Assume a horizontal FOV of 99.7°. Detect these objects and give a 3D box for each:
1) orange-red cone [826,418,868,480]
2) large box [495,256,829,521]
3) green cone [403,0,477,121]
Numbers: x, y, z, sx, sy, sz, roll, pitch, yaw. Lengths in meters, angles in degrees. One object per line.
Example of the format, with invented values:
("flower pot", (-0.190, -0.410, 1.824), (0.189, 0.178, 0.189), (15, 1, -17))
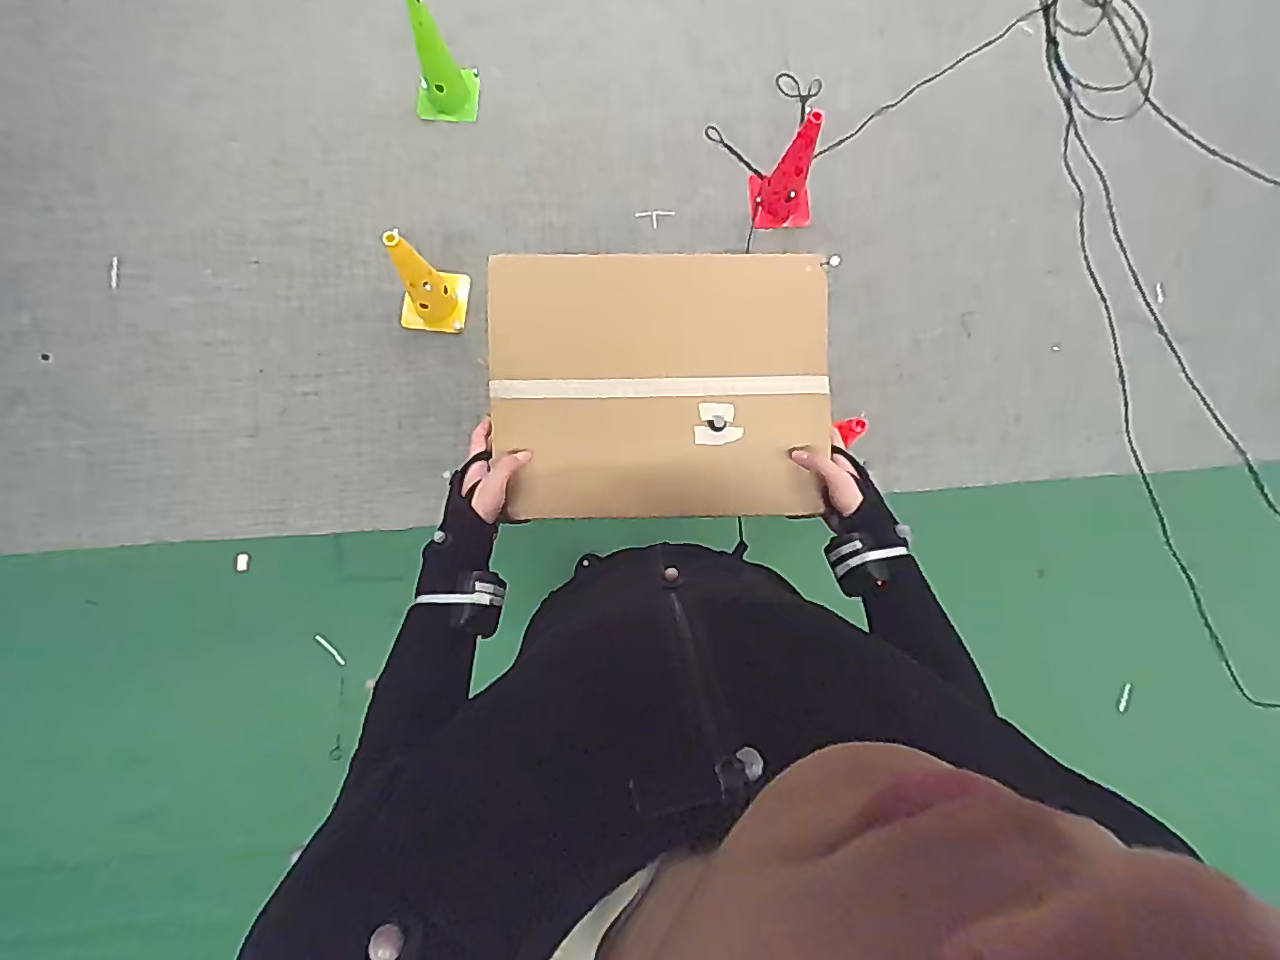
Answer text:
("orange-red cone", (0.556, -0.121, 1.546), (0.199, 0.360, 0.198), (3, 83, -3))
("large box", (0.023, -0.115, 0.802), (0.408, 0.320, 0.320), (-2, 93, -2))
("green cone", (-0.656, -1.340, 1.673), (0.200, 0.368, 0.202), (2, 83, -2))
